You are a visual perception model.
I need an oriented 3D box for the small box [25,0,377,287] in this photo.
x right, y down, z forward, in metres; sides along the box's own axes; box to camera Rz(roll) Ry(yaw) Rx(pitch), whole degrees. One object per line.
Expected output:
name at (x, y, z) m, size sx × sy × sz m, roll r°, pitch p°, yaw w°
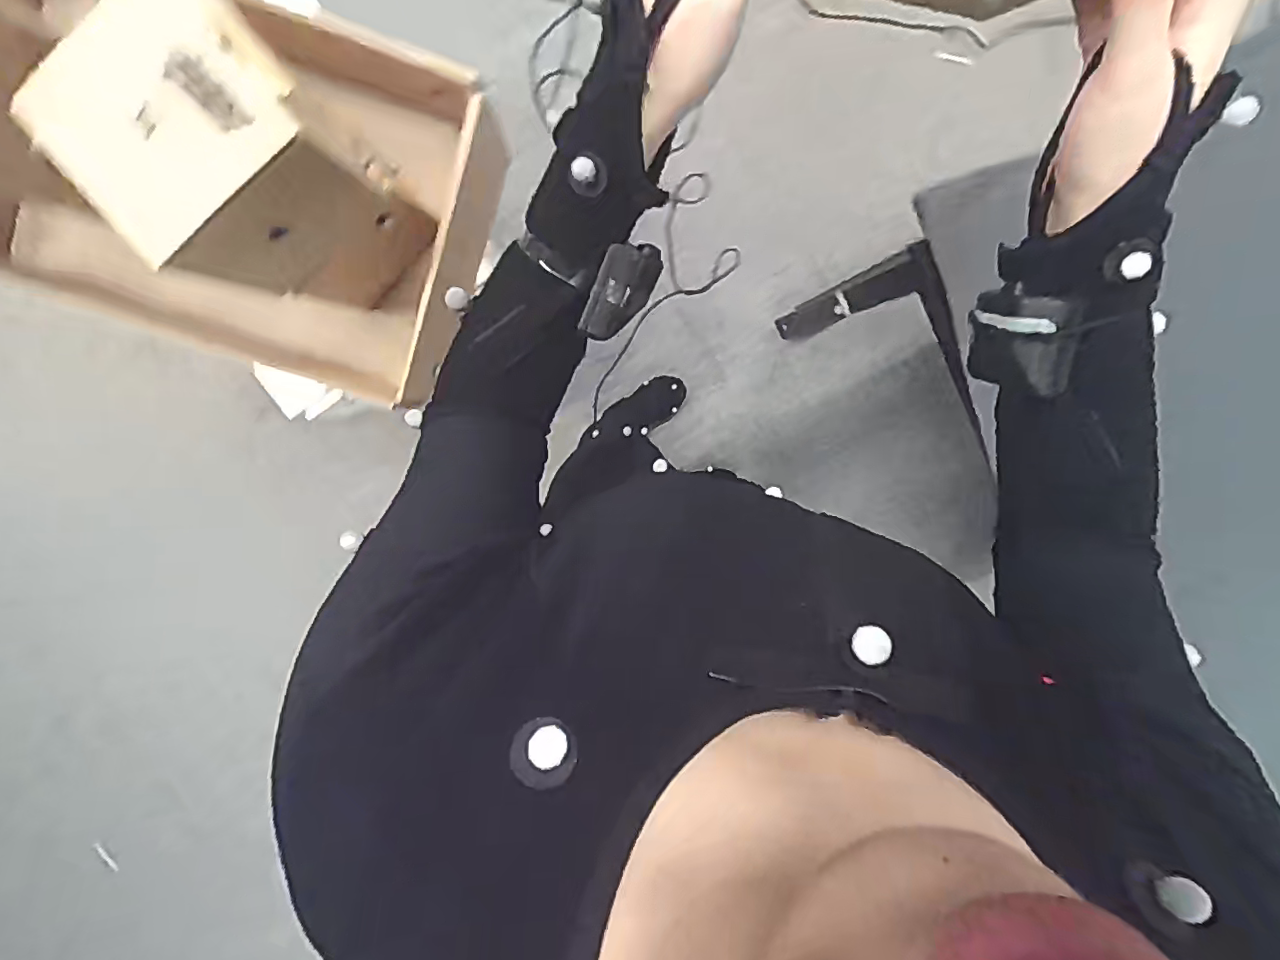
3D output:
small box at (-0.391, -0.317, 0.526) m, size 0.179 × 0.176 × 0.168 m, roll -37°, pitch 97°, yaw 7°

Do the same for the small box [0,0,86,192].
small box at (-0.658, -0.407, 0.504) m, size 0.179 × 0.176 × 0.168 m, roll 34°, pitch 99°, yaw -9°
